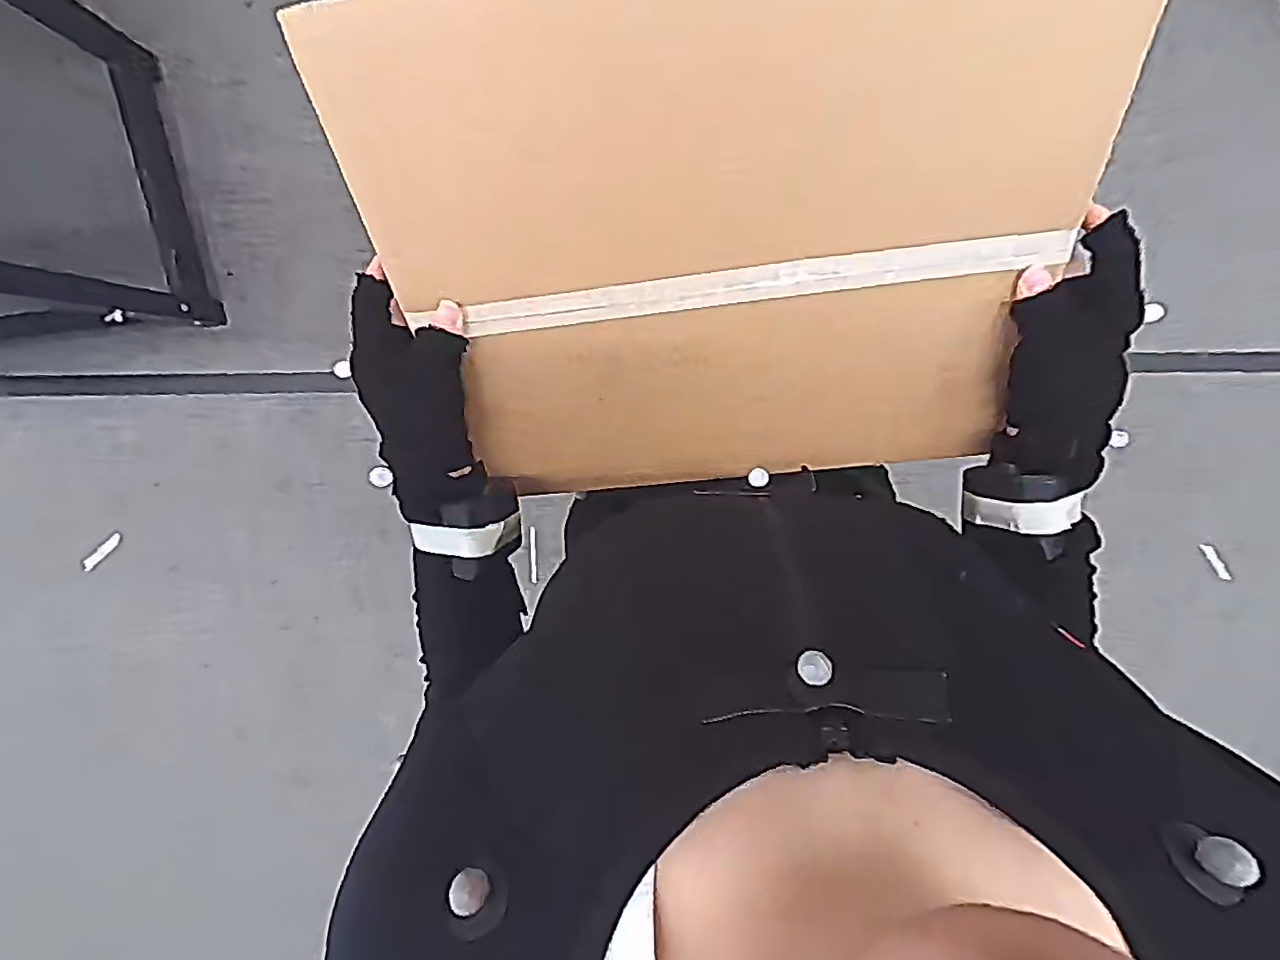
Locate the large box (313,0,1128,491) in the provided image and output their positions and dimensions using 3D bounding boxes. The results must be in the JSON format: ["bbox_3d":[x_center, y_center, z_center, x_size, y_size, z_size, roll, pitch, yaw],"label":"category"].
[{"bbox_3d":[0.049,-0.222,0.458,0.408,0.320,0.320,-5,132,5],"label":"large box"}]
